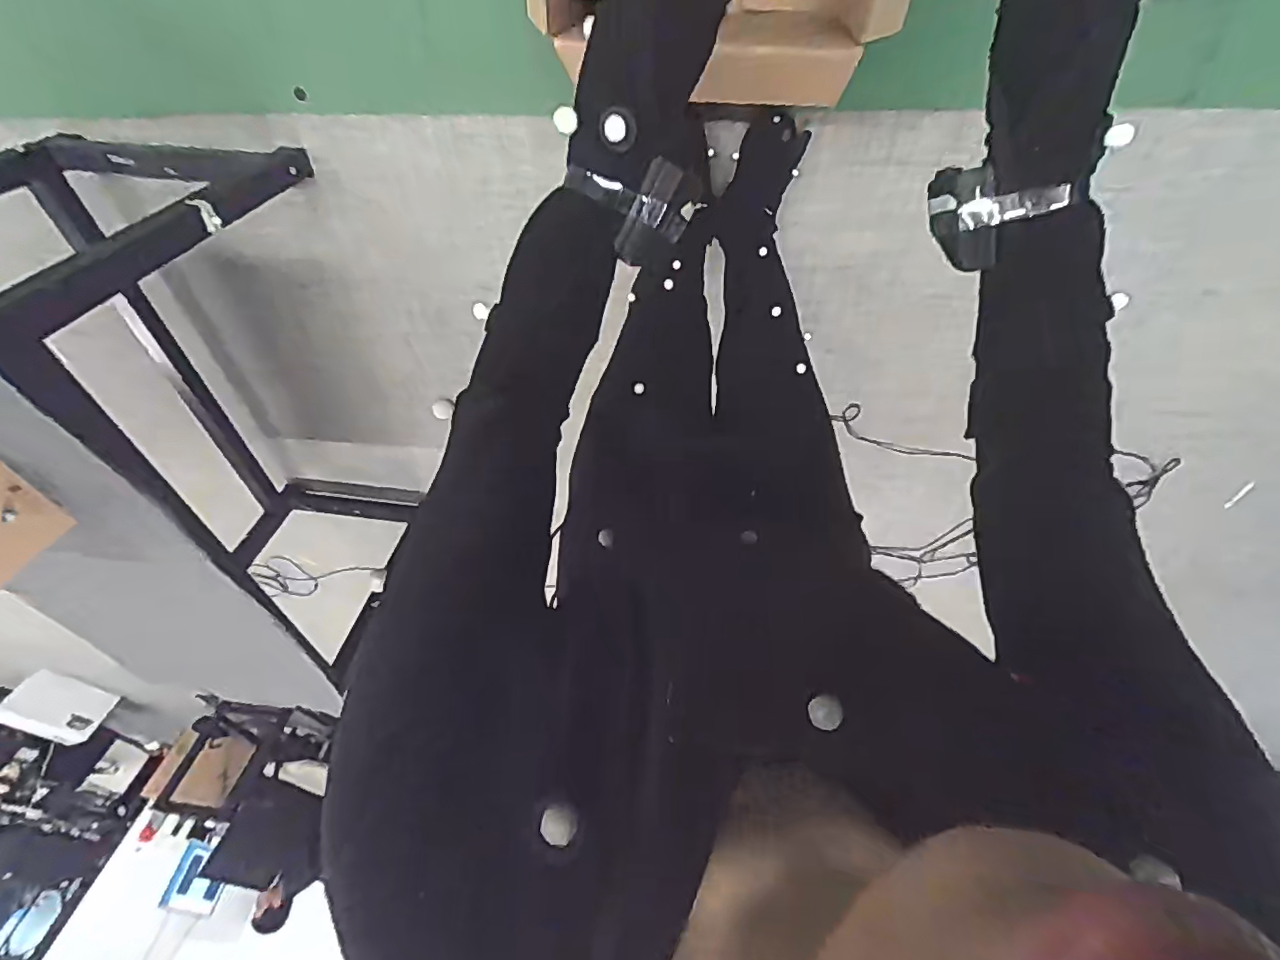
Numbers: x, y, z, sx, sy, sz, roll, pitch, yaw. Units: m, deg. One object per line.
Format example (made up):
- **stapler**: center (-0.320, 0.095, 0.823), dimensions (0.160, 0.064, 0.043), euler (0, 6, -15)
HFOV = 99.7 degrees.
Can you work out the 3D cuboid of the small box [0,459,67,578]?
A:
- **small box**: center (-1.065, 0.064, 0.822), dimensions (0.179, 0.176, 0.168), euler (5, 137, 6)
